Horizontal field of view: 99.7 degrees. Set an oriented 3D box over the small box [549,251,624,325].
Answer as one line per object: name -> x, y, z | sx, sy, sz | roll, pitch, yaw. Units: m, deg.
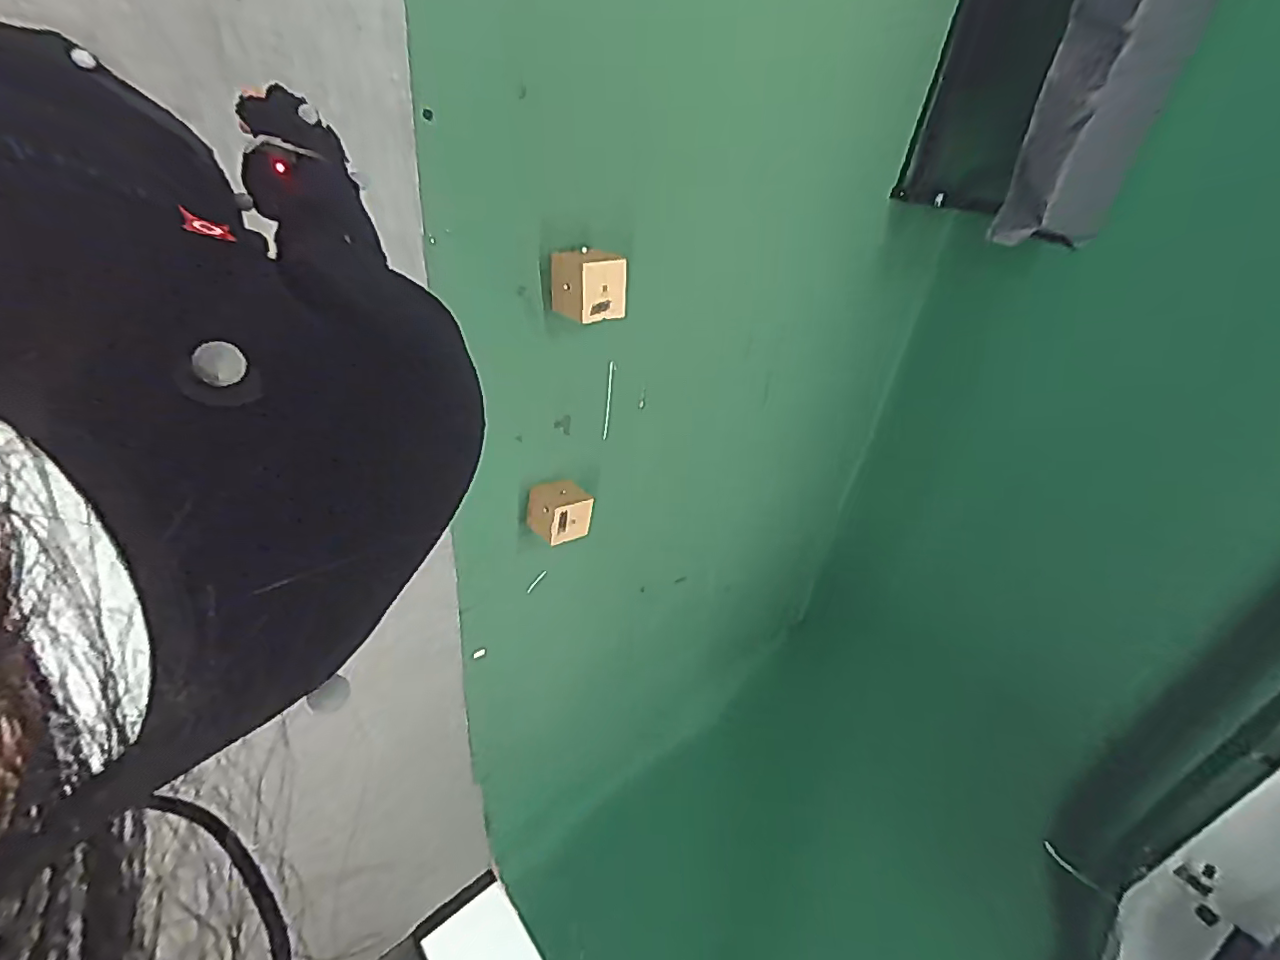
small box -> -0.168, -0.596, 1.665 | 0.168, 0.176, 0.179 | -22, 131, -35
